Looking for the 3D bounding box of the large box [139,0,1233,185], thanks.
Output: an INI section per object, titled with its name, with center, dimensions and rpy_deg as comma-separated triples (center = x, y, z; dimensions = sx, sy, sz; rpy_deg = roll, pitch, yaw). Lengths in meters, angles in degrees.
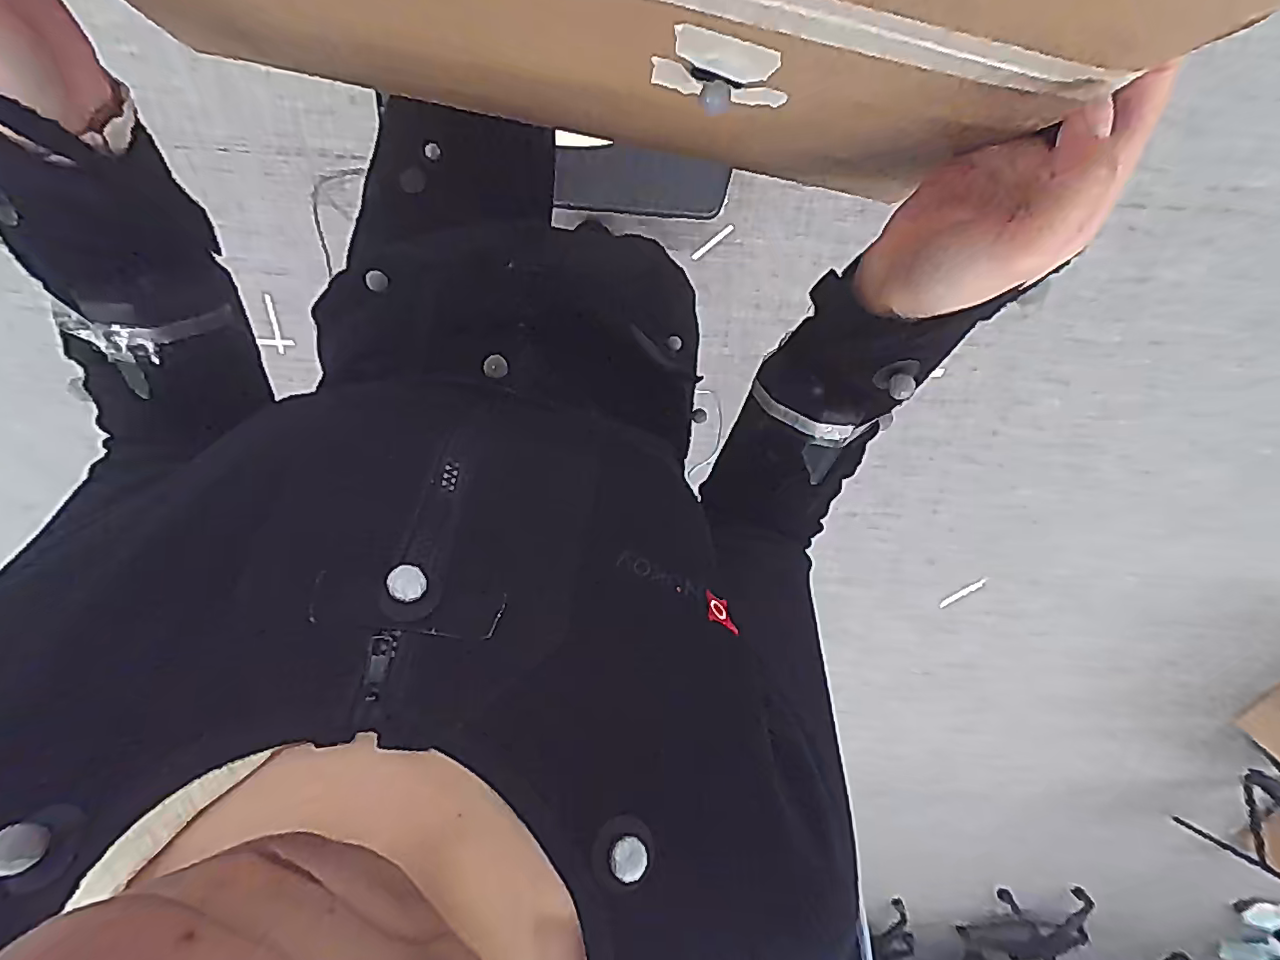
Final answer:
[large box]
center = -0.007, -0.321, 0.139
dimensions = 0.408, 0.320, 0.320
rpy_deg = 7, 103, -6
